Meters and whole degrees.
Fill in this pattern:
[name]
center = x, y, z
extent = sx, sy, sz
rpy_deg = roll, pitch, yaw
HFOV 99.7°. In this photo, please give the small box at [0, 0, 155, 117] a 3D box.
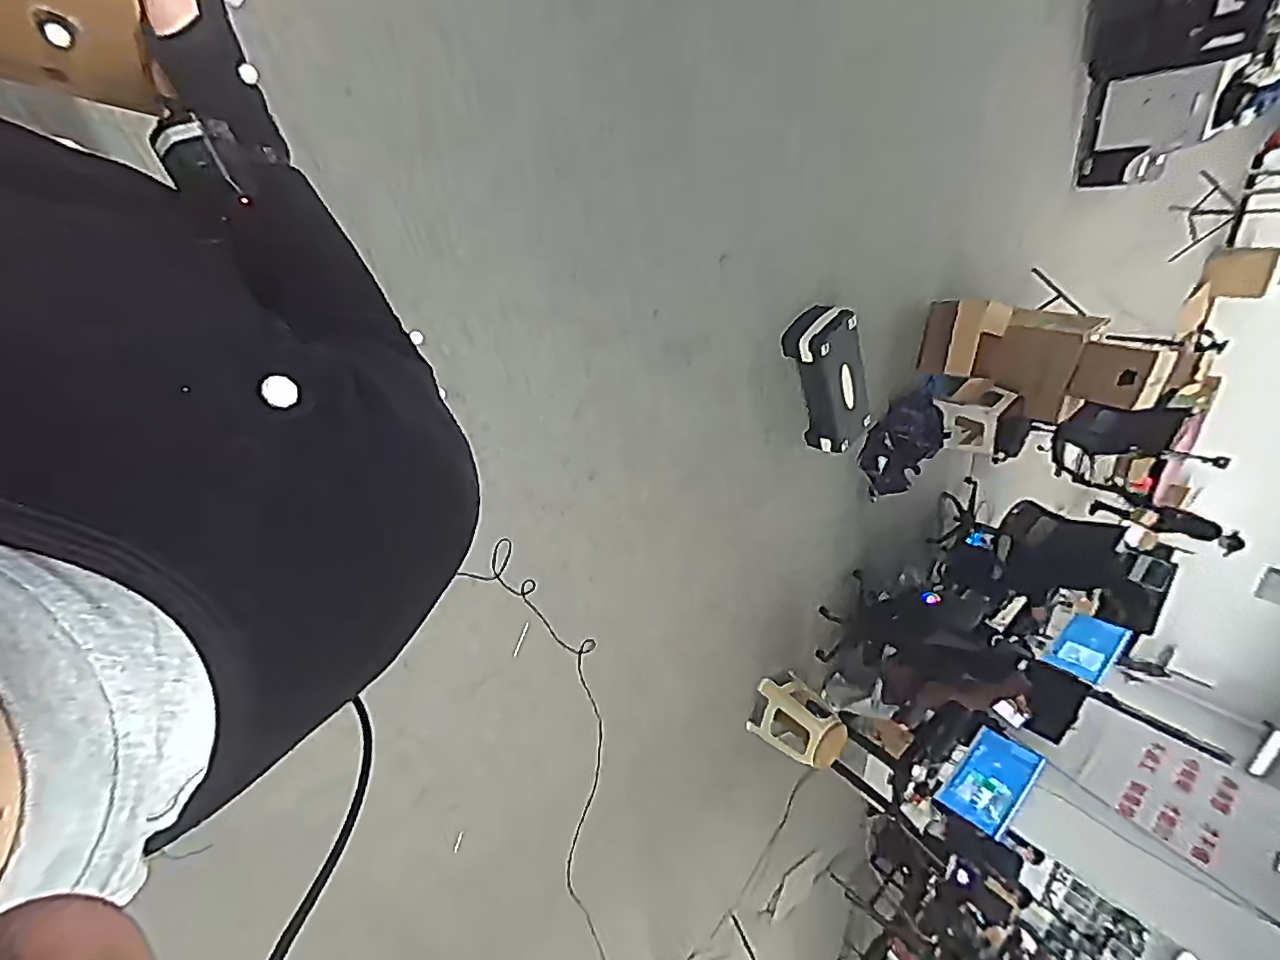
[small box]
center = -0.436, -0.384, 0.348
extent = 0.168, 0.176, 0.179
rpy_deg = -5, 89, -37
